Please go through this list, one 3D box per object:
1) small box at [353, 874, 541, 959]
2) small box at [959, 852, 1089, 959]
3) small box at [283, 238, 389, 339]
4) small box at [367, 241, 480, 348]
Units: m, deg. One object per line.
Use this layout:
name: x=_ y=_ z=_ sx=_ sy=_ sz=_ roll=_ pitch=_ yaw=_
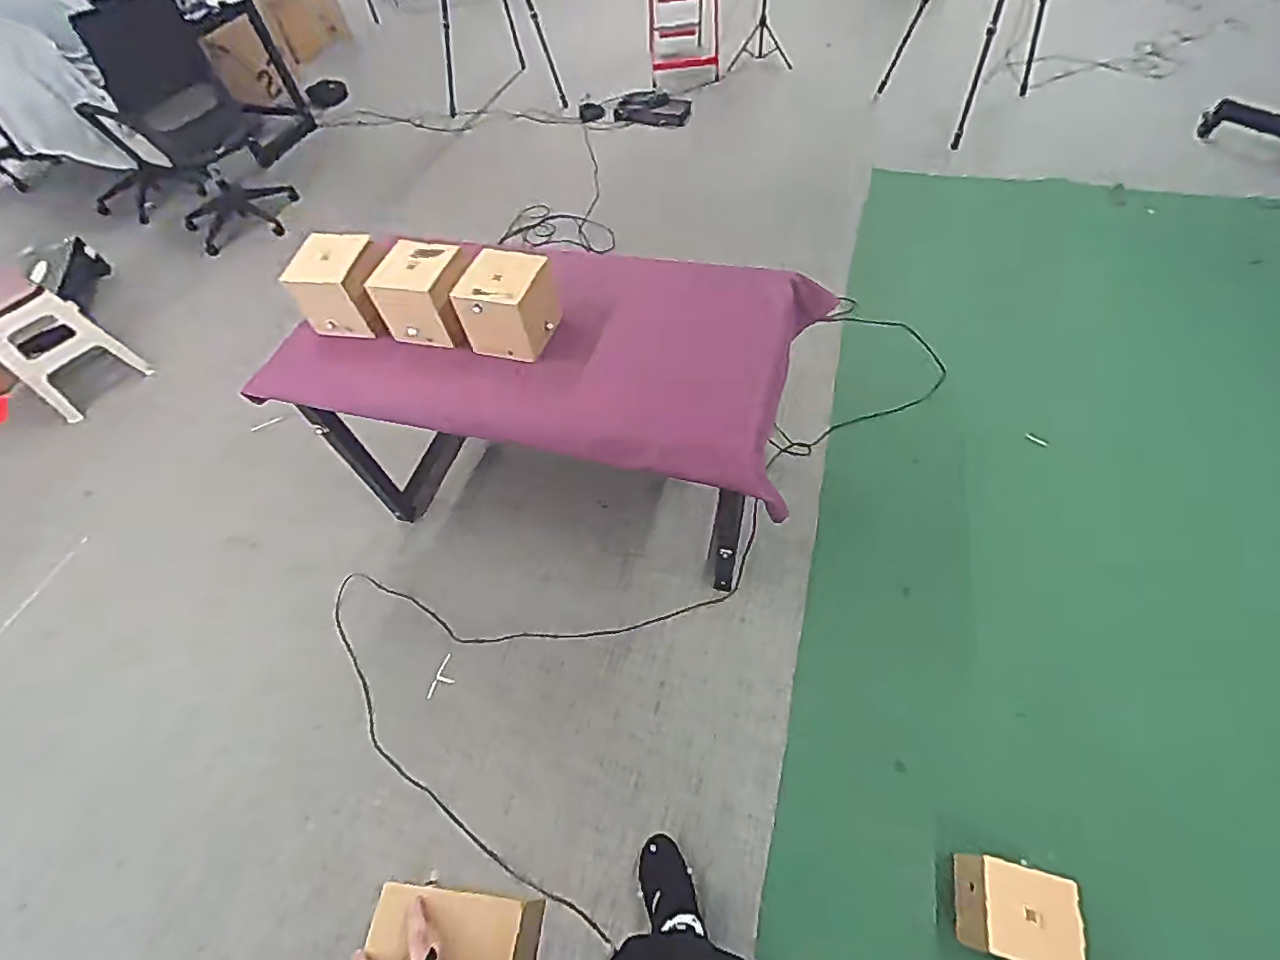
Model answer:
small box: x=-0.235 y=0.597 z=0.663 sx=0.179 sy=0.176 sz=0.168 roll=4 pitch=54 yaw=5
small box: x=0.789 y=0.905 z=1.133 sx=0.179 sy=0.176 sz=0.168 roll=11 pitch=58 yaw=12
small box: x=-0.731 y=-0.479 z=1.356 sx=0.168 sy=0.176 sz=0.179 roll=6 pitch=58 yaw=11
small box: x=-0.510 y=-0.448 z=1.310 sx=0.168 sy=0.176 sz=0.179 roll=10 pitch=59 yaw=13
